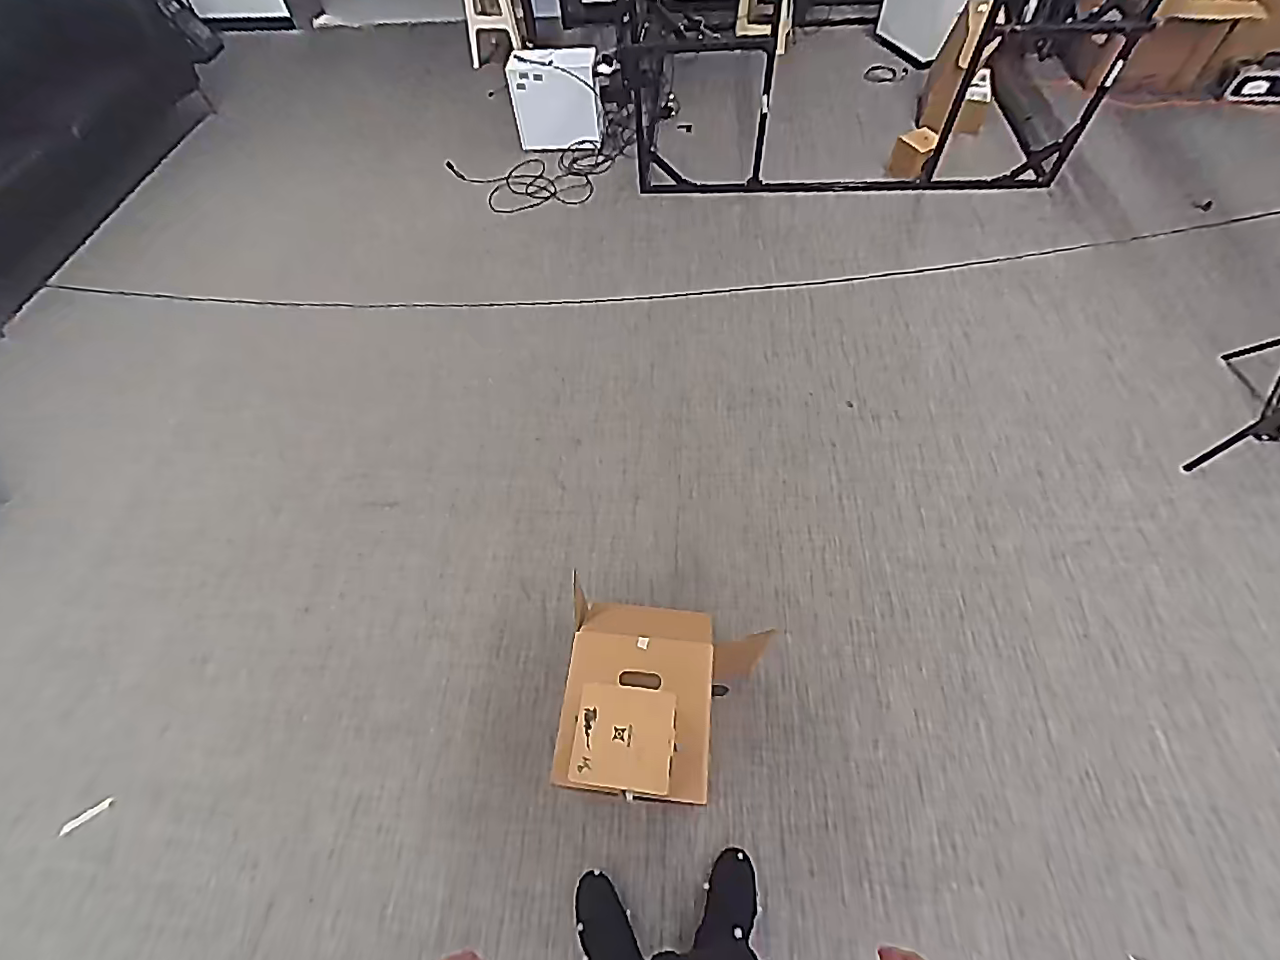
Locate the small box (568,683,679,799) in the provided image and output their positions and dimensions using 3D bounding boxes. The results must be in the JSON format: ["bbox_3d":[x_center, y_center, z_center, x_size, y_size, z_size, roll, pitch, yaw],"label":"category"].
[{"bbox_3d":[-0.024,0.496,1.025,0.179,0.176,0.168,6,60,6],"label":"small box"}]
